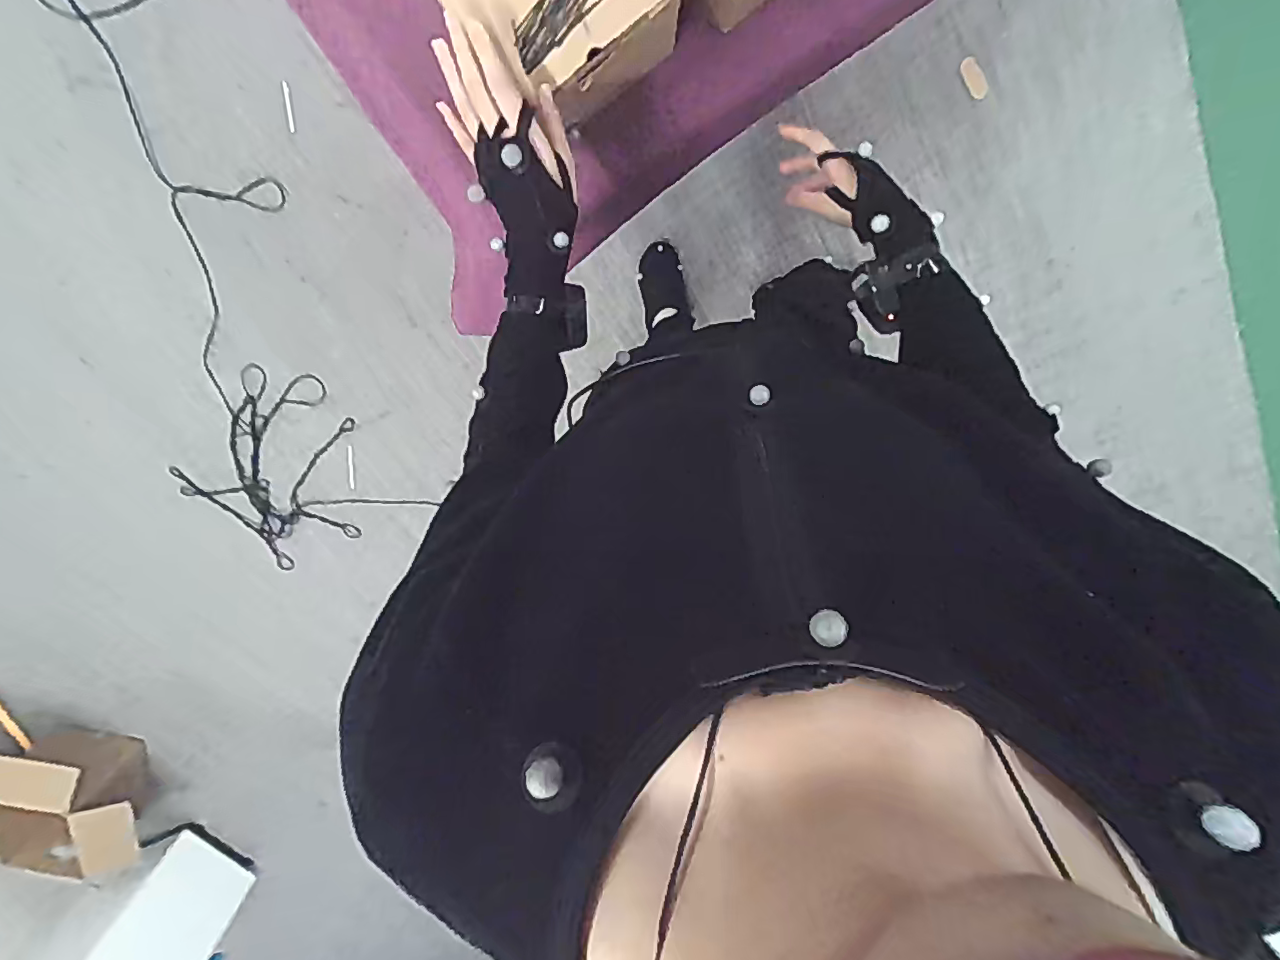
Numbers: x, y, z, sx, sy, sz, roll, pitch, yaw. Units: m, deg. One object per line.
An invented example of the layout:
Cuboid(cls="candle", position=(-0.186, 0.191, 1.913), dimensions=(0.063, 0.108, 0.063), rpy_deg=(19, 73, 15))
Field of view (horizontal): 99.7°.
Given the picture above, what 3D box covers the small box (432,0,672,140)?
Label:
Cuboid(cls="small box", position=(-0.083, -0.438, 0.485), dimensions=(0.168, 0.176, 0.179), rpy_deg=(-30, 110, 15))
